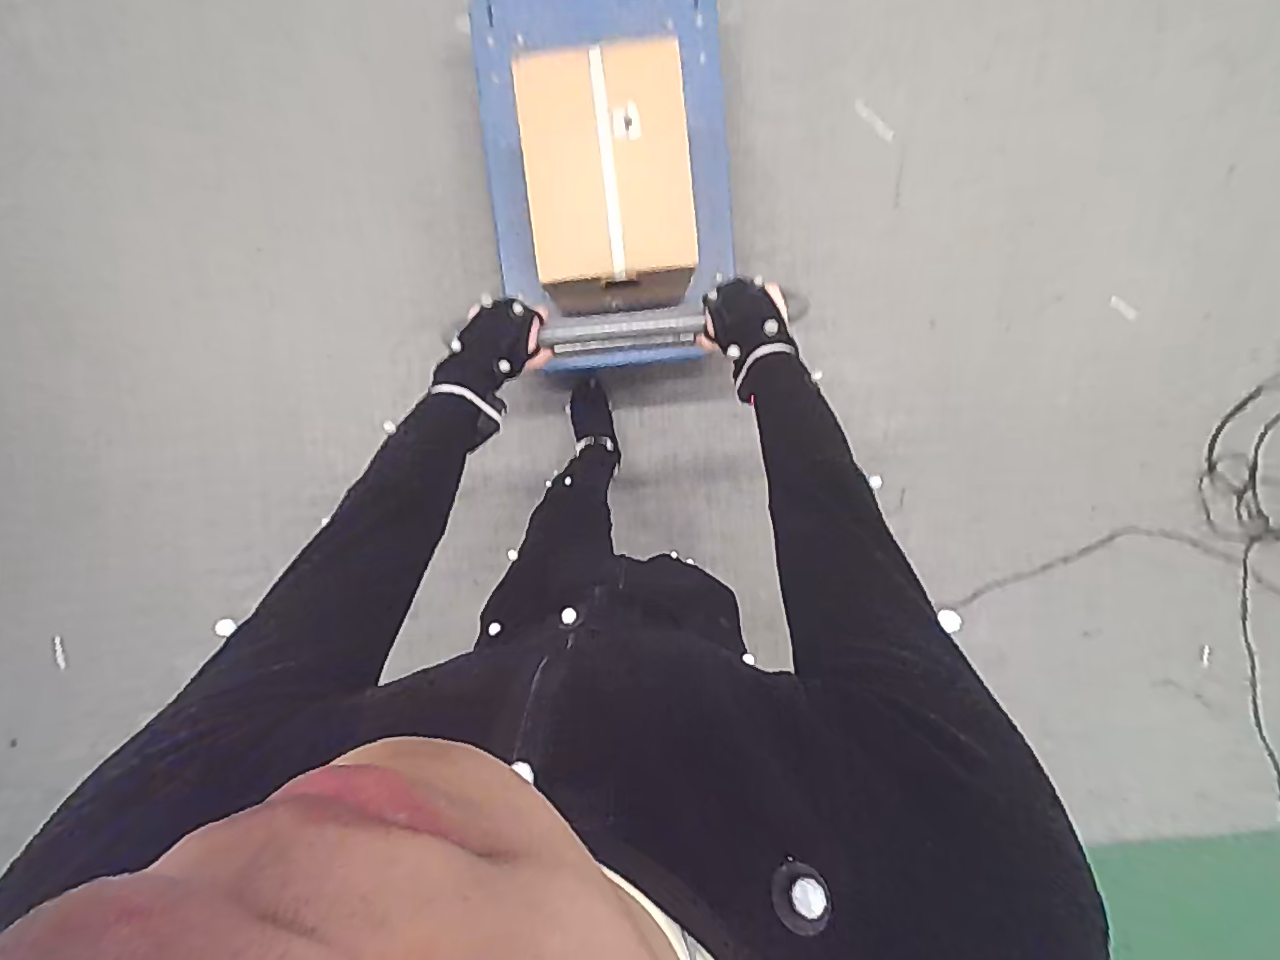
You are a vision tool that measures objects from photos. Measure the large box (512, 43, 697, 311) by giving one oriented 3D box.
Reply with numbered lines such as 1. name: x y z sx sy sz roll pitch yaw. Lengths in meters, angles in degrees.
1. large box: -0.064 -0.616 1.175 0.320 0.320 0.408 -6 97 0
